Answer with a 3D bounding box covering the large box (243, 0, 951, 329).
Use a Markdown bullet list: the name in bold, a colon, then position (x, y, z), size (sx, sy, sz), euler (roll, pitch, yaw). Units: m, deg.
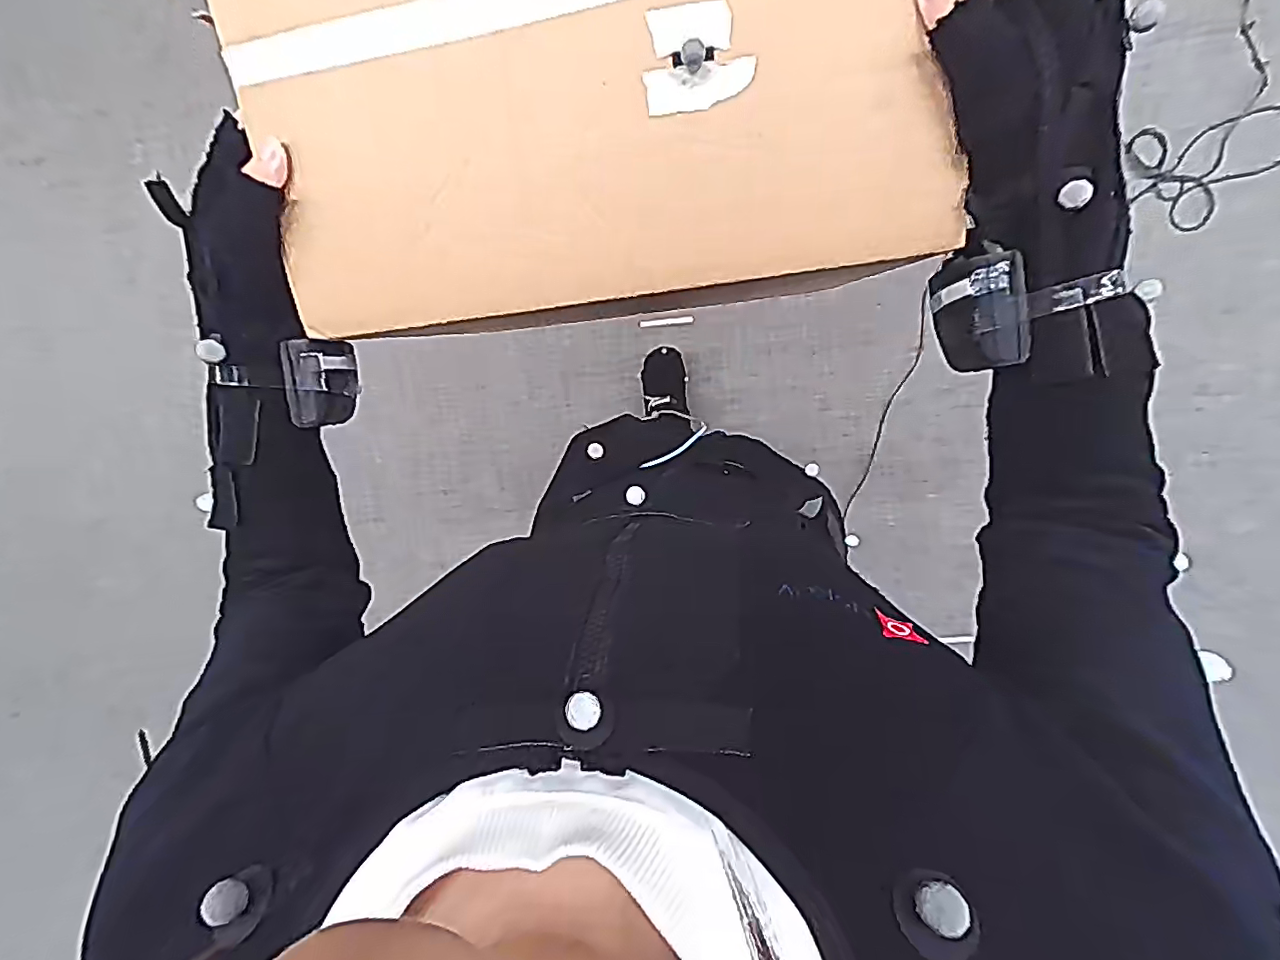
- **large box**: position (-0.022, -0.311, 0.444), size (0.408, 0.320, 0.320), euler (-6, 106, 9)
